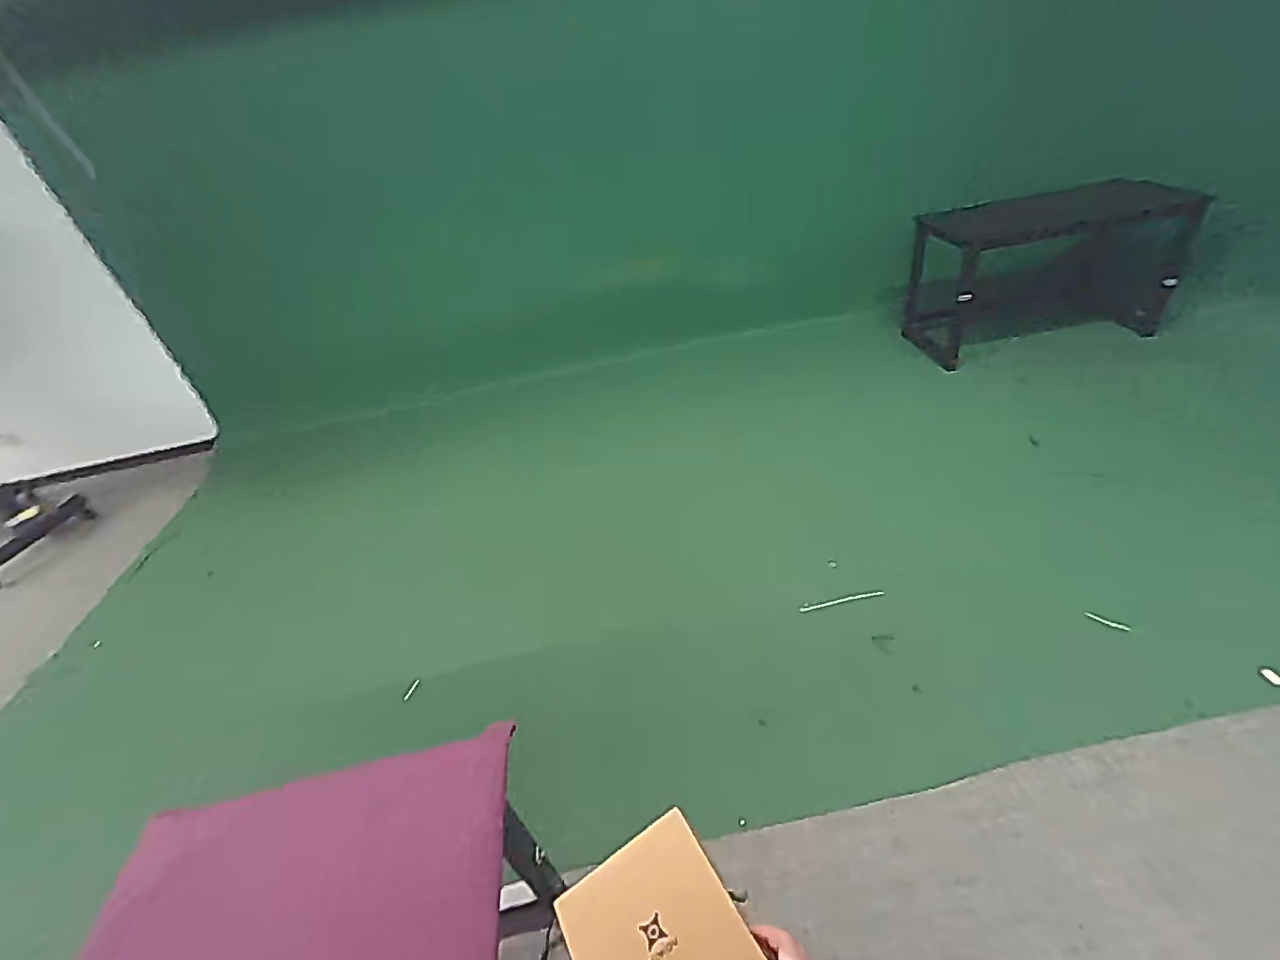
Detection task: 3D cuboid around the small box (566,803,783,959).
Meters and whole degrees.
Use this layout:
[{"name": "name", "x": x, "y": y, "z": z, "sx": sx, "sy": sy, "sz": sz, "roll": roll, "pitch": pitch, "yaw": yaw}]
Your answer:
[{"name": "small box", "x": 0.047, "y": 0.502, "z": 0.581, "sx": 0.168, "sy": 0.176, "sz": 0.179, "roll": -30, "pitch": 41, "yaw": -13}]
